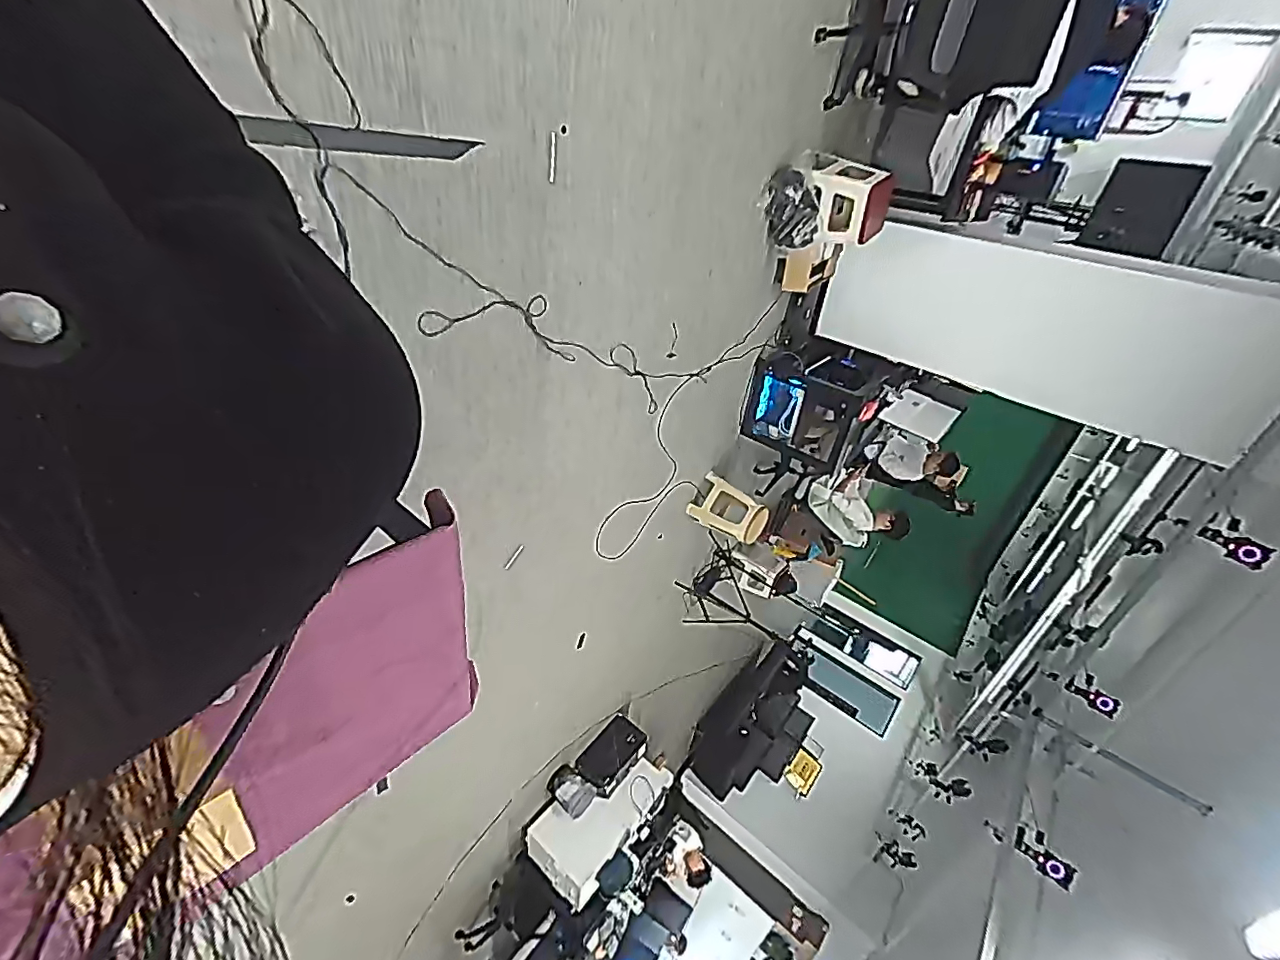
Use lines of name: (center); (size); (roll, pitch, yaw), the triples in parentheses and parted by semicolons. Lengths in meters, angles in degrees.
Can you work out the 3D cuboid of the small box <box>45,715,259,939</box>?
small box: (-0.684, 0.479, 0.768); (0.168, 0.176, 0.179); (-28, 138, -46)
